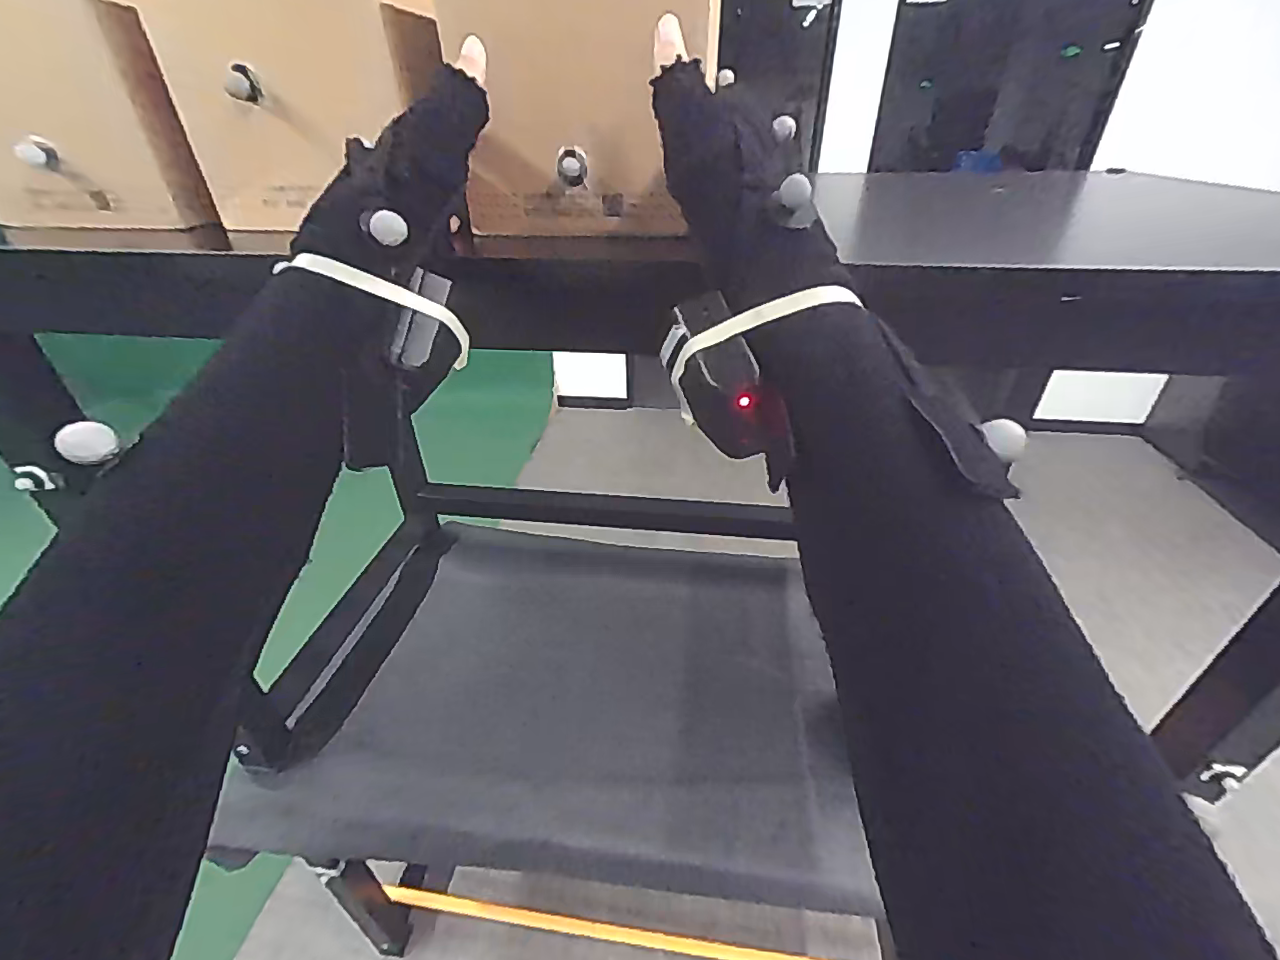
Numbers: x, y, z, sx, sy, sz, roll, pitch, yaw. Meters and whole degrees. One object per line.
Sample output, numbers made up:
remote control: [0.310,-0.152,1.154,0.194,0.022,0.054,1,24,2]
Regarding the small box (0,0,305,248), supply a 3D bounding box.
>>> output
small box: [-0.423,-0.305,0.459,0.168,0.176,0.179,3,34,6]
